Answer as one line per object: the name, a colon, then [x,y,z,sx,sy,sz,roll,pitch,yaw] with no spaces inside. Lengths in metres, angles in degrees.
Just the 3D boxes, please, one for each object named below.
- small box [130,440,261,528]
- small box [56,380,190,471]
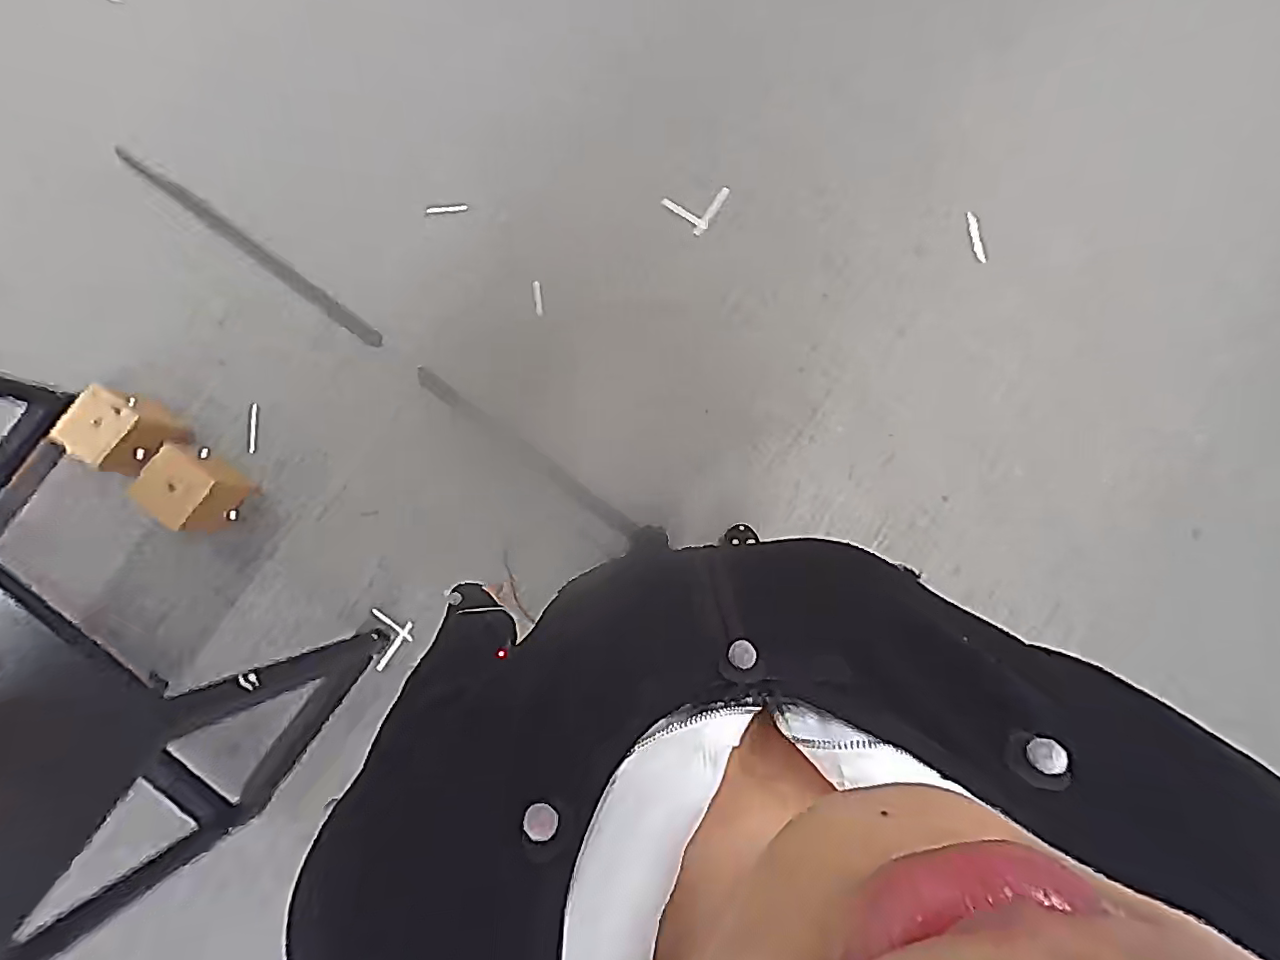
small box: [-1.195,0.019,1.467,0.179,0.176,0.168,36,86,3]
small box: [-1.405,-0.139,1.484,0.168,0.176,0.179,35,86,3]
